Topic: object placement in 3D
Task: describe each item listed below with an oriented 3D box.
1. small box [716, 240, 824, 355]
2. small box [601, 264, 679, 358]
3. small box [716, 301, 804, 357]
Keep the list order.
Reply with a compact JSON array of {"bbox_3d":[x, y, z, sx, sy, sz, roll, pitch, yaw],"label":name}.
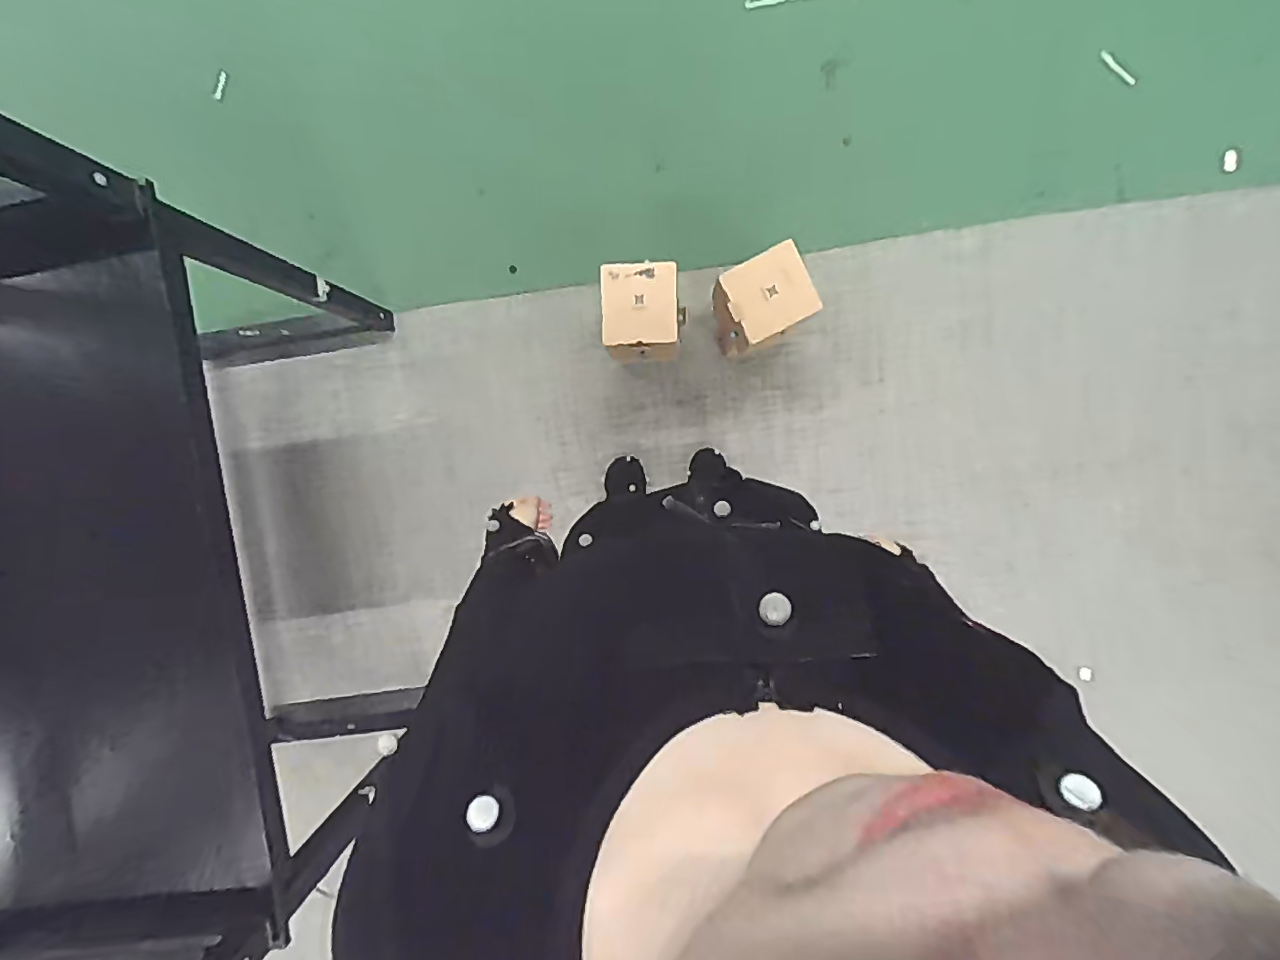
[{"bbox_3d":[0.281,-0.399,1.218,0.179,0.176,0.168,-27,94,4],"label":"small box"},{"bbox_3d":[0.004,-0.376,1.232,0.168,0.176,0.179,0,94,4],"label":"small box"},{"bbox_3d":[0.296,-0.421,1.378,0.179,0.176,0.168,-14,93,3],"label":"small box"}]
